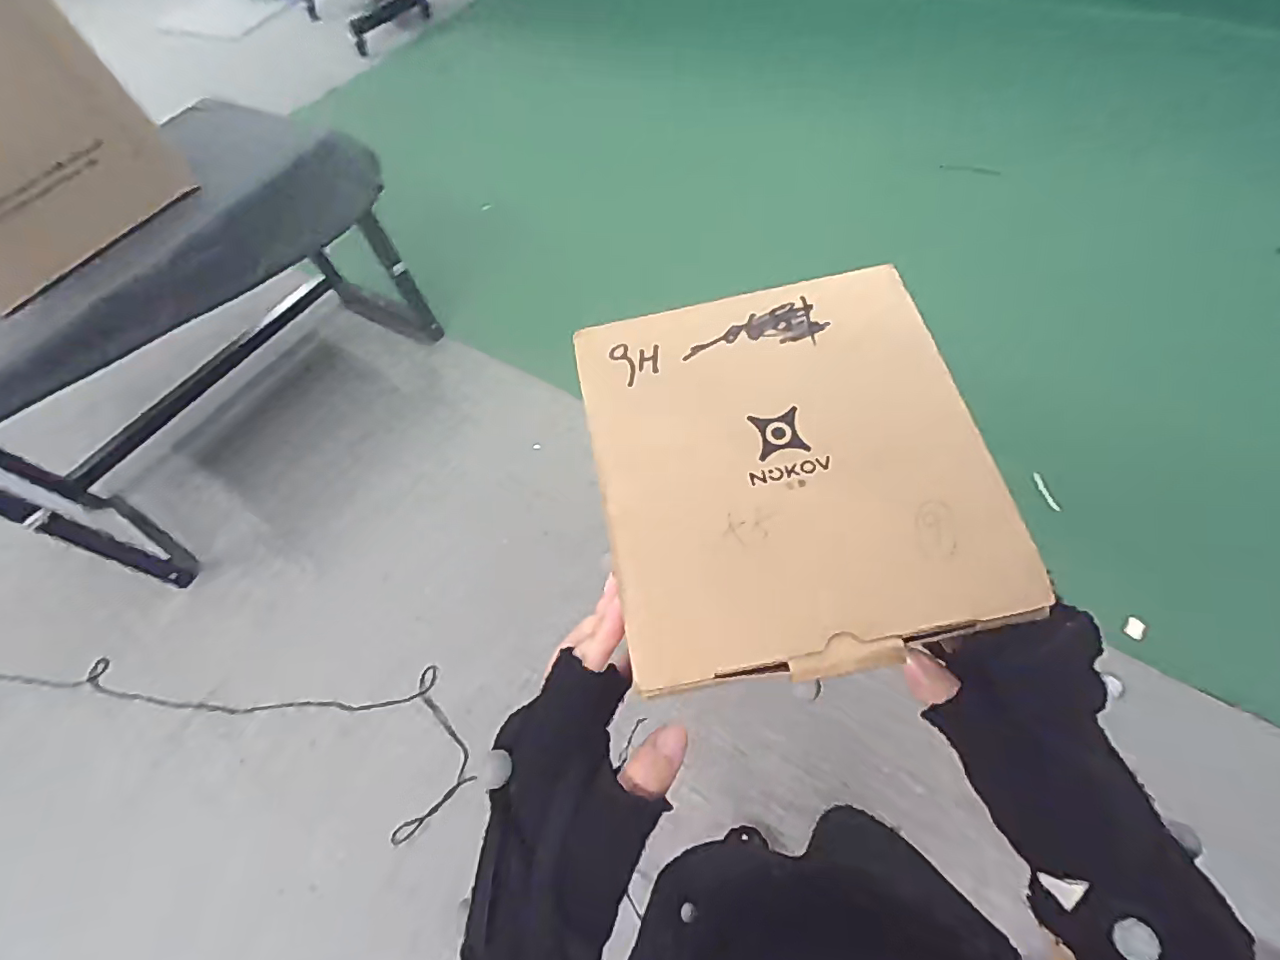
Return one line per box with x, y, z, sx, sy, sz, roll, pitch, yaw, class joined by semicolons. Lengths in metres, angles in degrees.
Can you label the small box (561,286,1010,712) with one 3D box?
0.062;0.024;0.321;0.168;0.176;0.179;-12;69;0;small box
